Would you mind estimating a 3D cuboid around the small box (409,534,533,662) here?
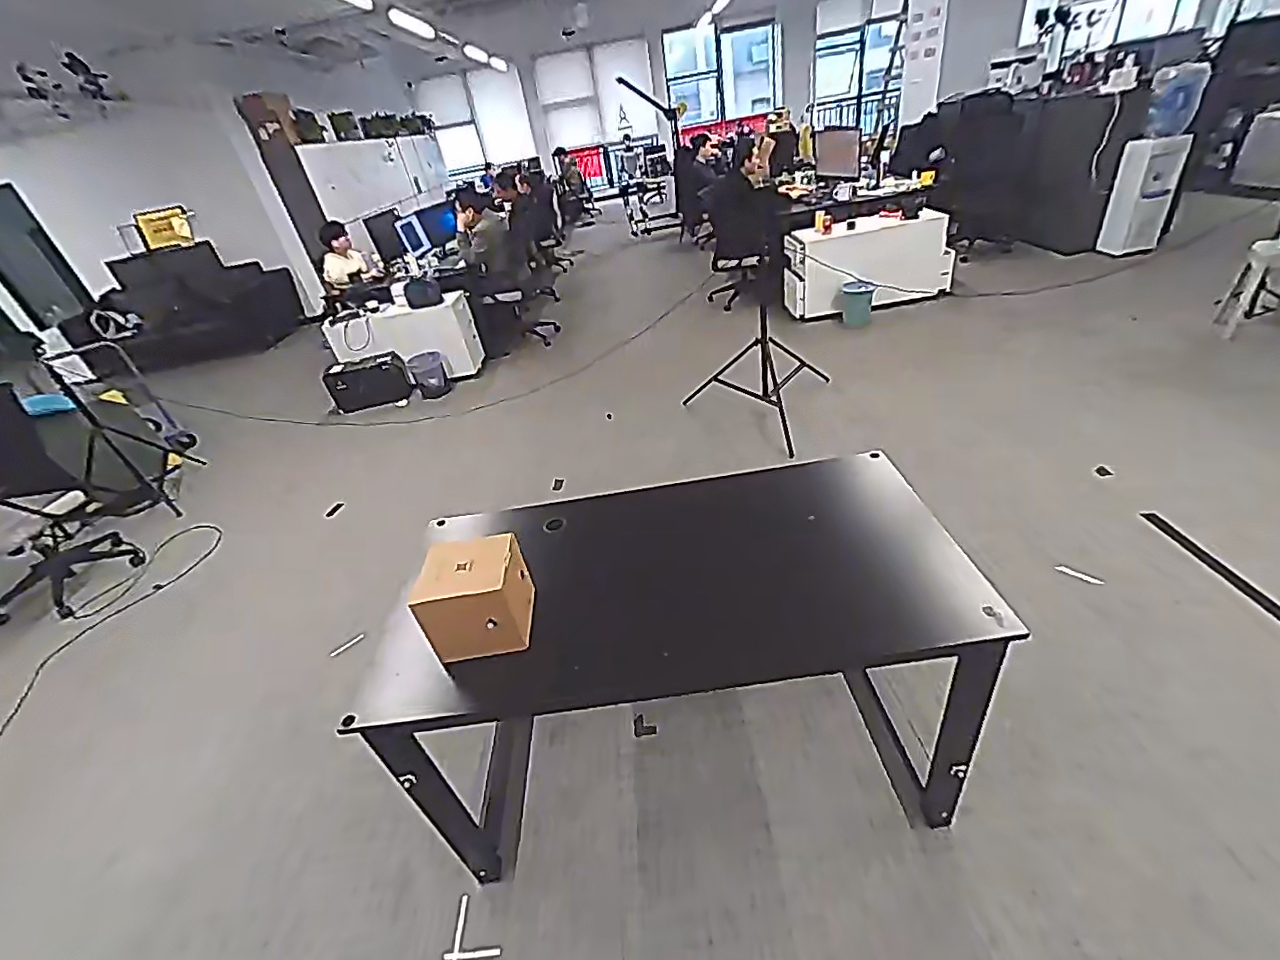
[{"bbox_3d":[-0.321,0.235,1.074,0.179,0.176,0.168,-11,32,1],"label":"small box"}]
